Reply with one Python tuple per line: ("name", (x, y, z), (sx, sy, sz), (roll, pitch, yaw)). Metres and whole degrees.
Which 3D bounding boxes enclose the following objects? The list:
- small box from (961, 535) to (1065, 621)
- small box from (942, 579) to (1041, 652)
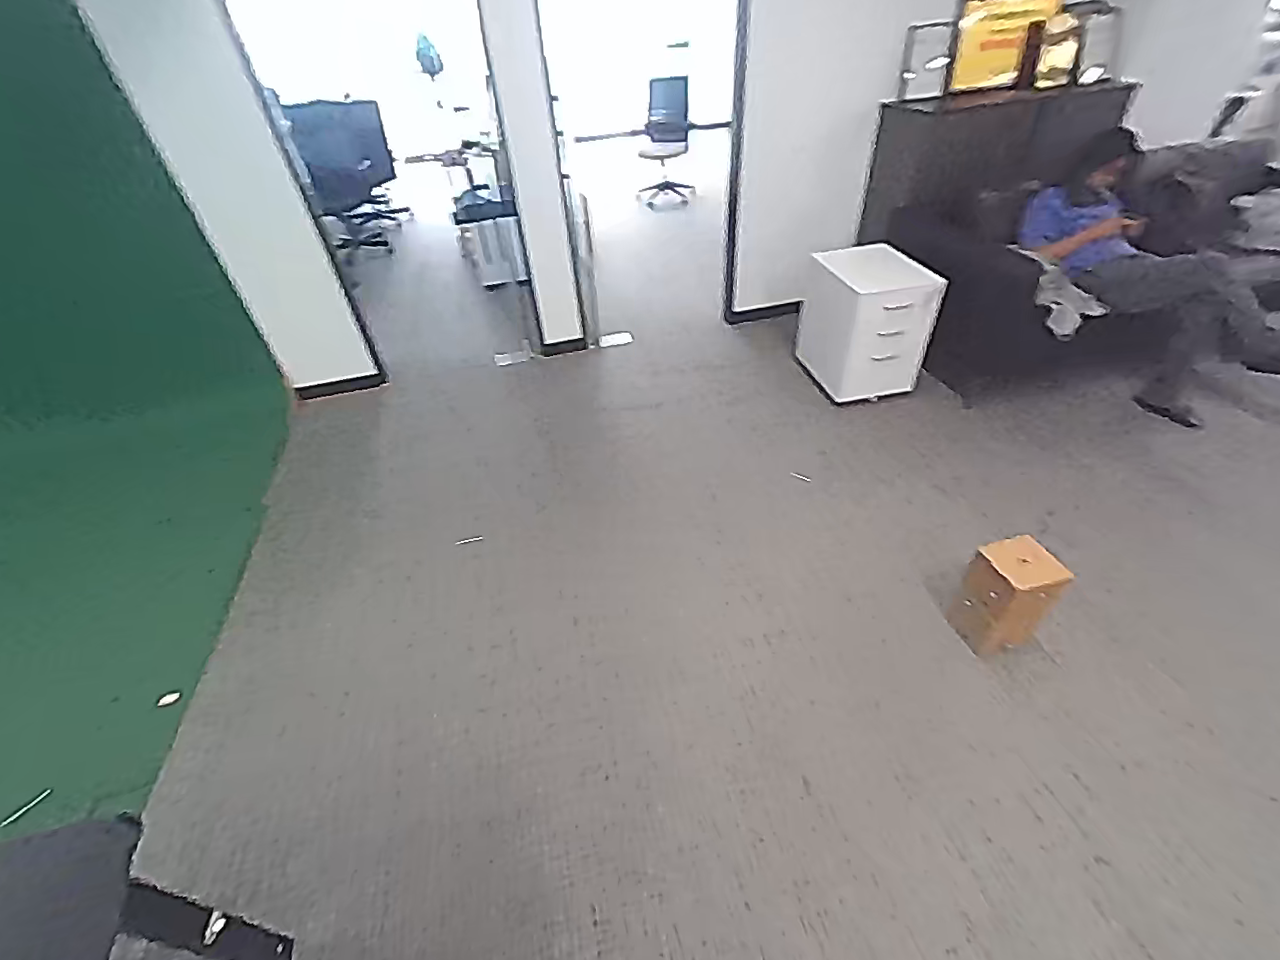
("small box", (1.084, 0.291, 1.596), (0.179, 0.176, 0.168), (-12, 41, -10))
("small box", (1.093, 0.415, 1.700), (0.179, 0.176, 0.168), (-11, 40, -7))
